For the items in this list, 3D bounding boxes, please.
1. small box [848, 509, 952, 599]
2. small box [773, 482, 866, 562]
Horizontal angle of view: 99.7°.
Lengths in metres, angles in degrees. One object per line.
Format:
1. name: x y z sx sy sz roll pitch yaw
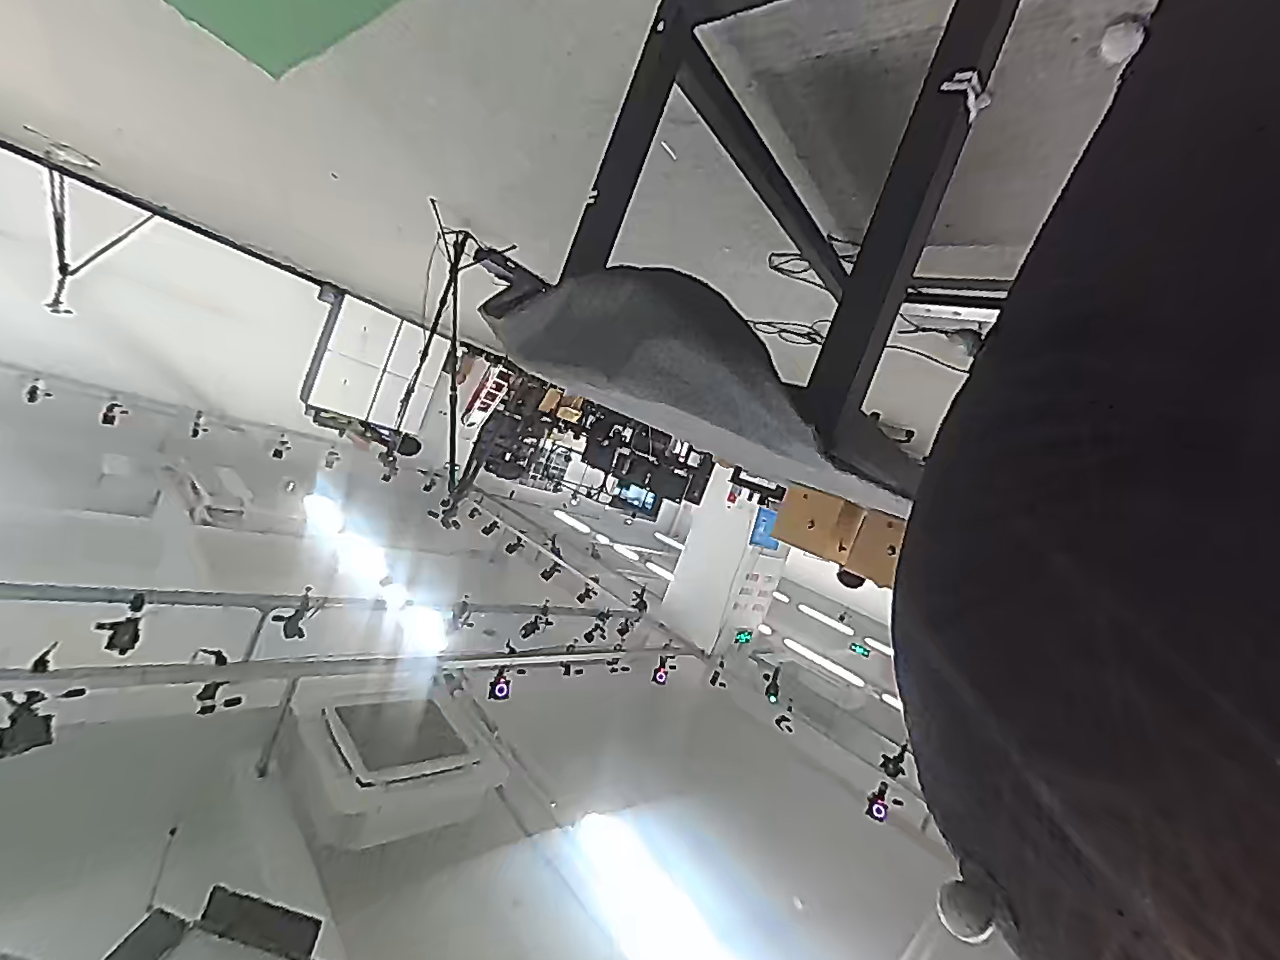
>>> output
1. small box: 0.658 0.183 1.362 0.168 0.176 0.179 25 -176 42
2. small box: 0.502 0.114 1.507 0.168 0.176 0.179 22 -176 42
